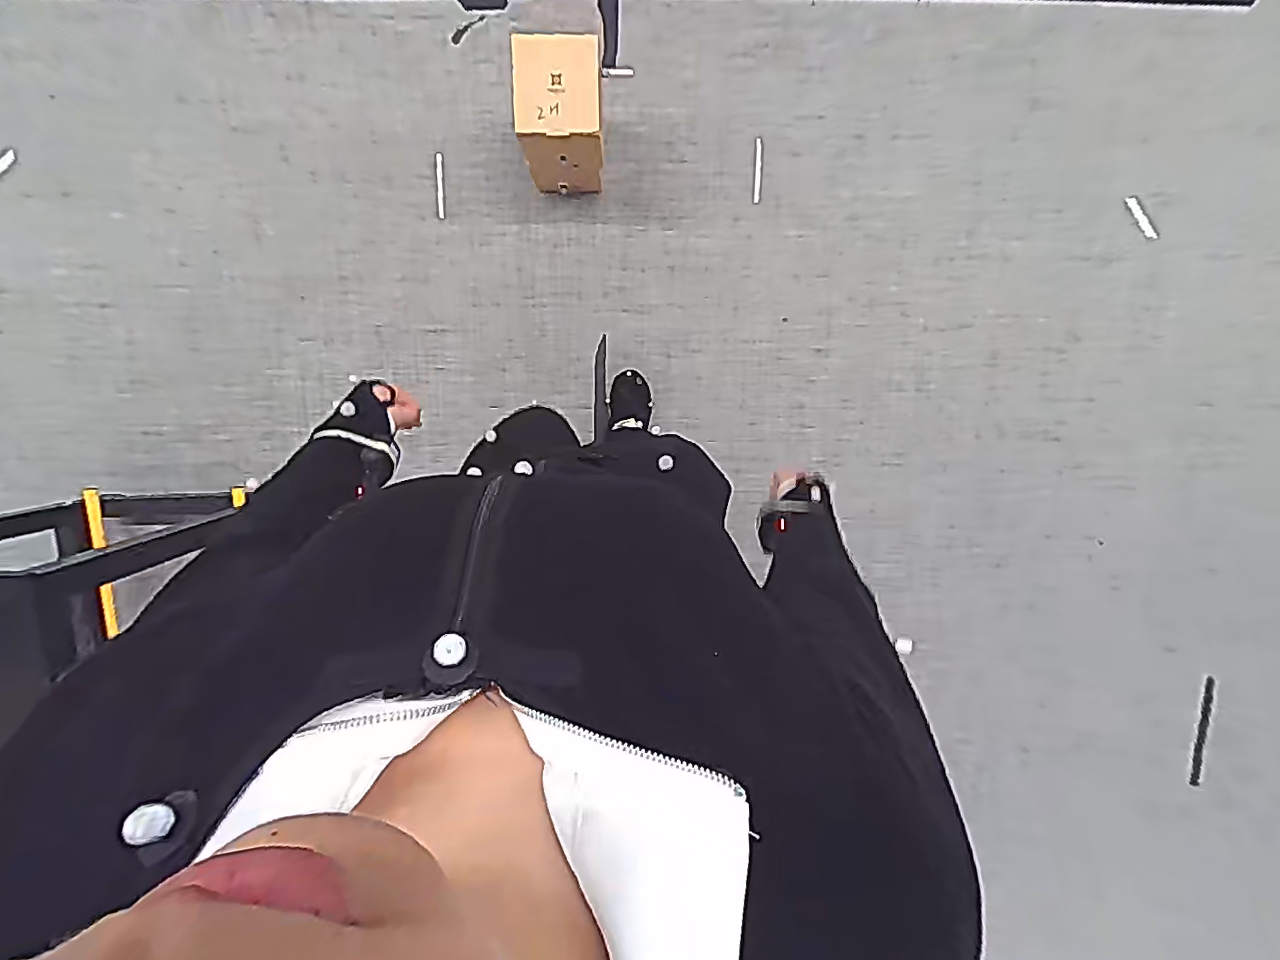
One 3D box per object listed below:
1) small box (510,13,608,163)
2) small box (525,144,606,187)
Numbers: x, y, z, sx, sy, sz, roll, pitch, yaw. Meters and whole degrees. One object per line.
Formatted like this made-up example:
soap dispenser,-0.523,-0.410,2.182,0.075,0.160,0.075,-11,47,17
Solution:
small box,-0.147,-0.733,1.026,0.168,0.176,0.179,-1,99,-1
small box,-0.160,-0.768,1.188,0.168,0.176,0.179,-1,101,-1
